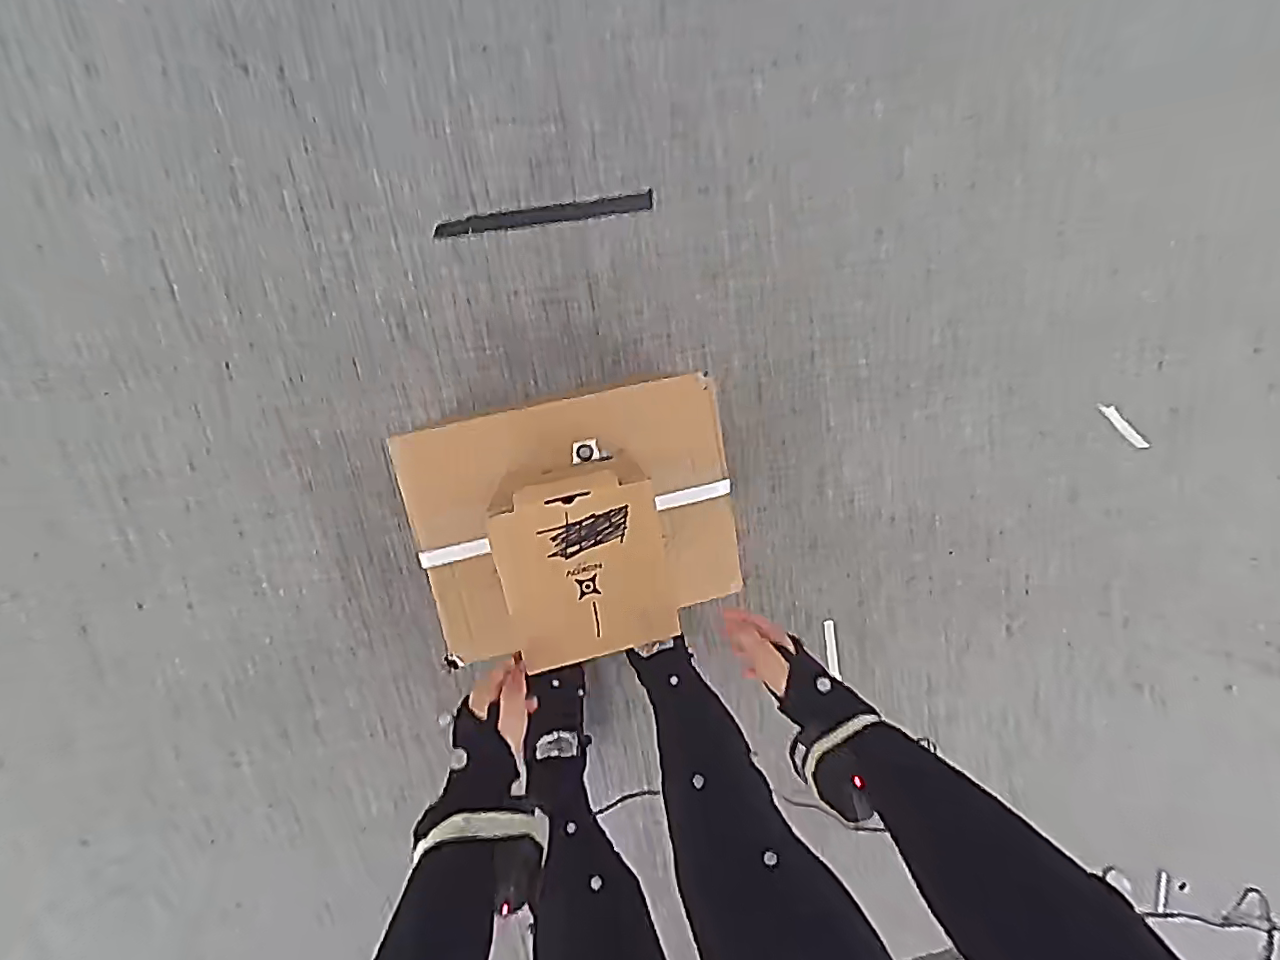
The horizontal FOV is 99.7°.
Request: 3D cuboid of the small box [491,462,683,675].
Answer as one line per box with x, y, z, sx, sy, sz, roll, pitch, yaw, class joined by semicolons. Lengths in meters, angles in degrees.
-0.062;0.084;0.615;0.168;0.176;0.179;-13;104;-6;small box
